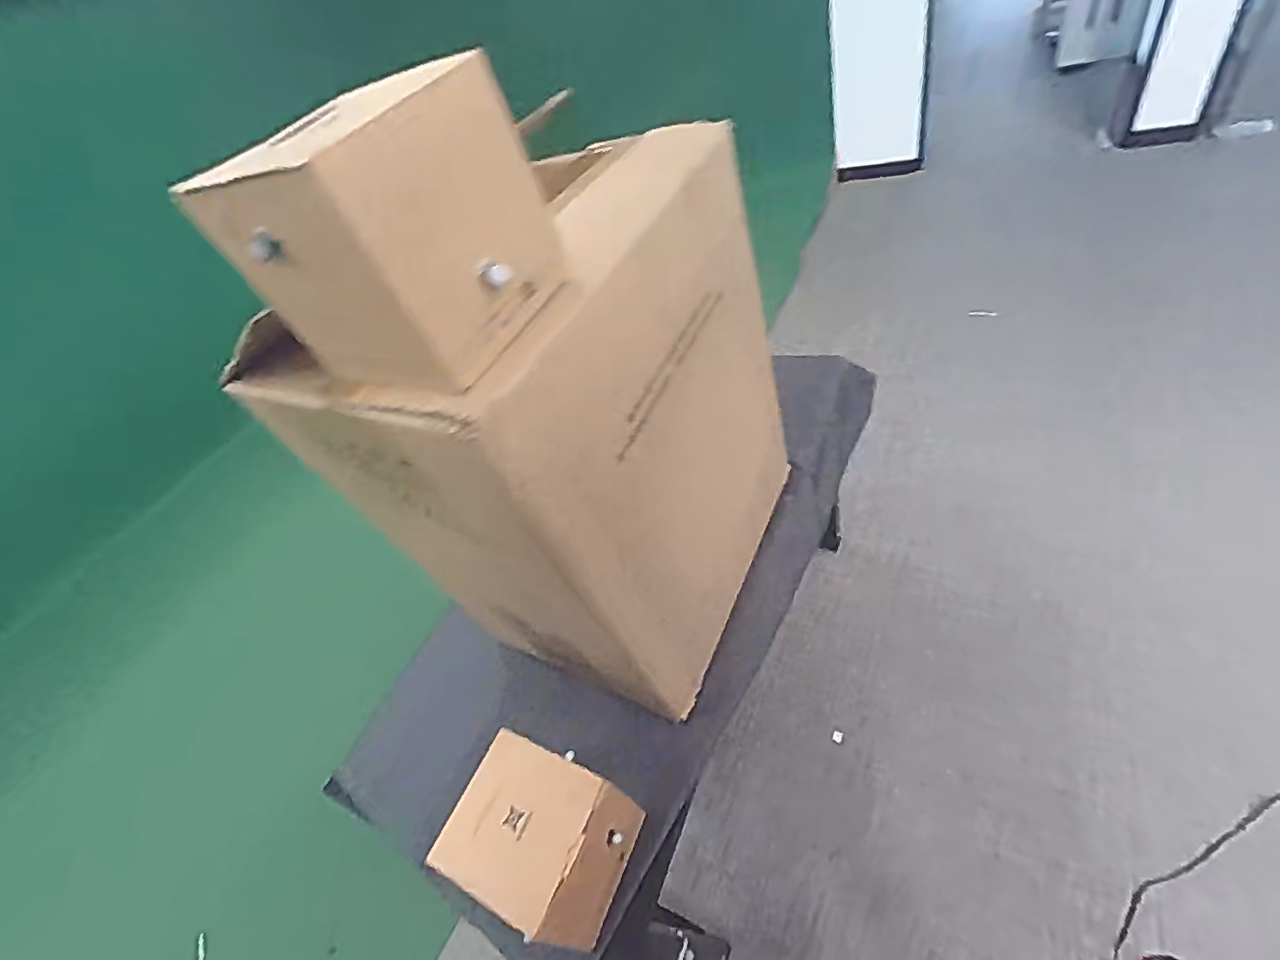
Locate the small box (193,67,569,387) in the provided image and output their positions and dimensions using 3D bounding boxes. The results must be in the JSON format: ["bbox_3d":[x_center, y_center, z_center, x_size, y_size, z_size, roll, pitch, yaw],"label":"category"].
[{"bbox_3d":[-0.191,-0.193,0.441,0.179,0.176,0.168,11,55,30],"label":"small box"}]

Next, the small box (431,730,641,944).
[{"bbox_3d":[-0.121,0.462,0.703,0.179,0.176,0.168,7,50,31],"label":"small box"}]
